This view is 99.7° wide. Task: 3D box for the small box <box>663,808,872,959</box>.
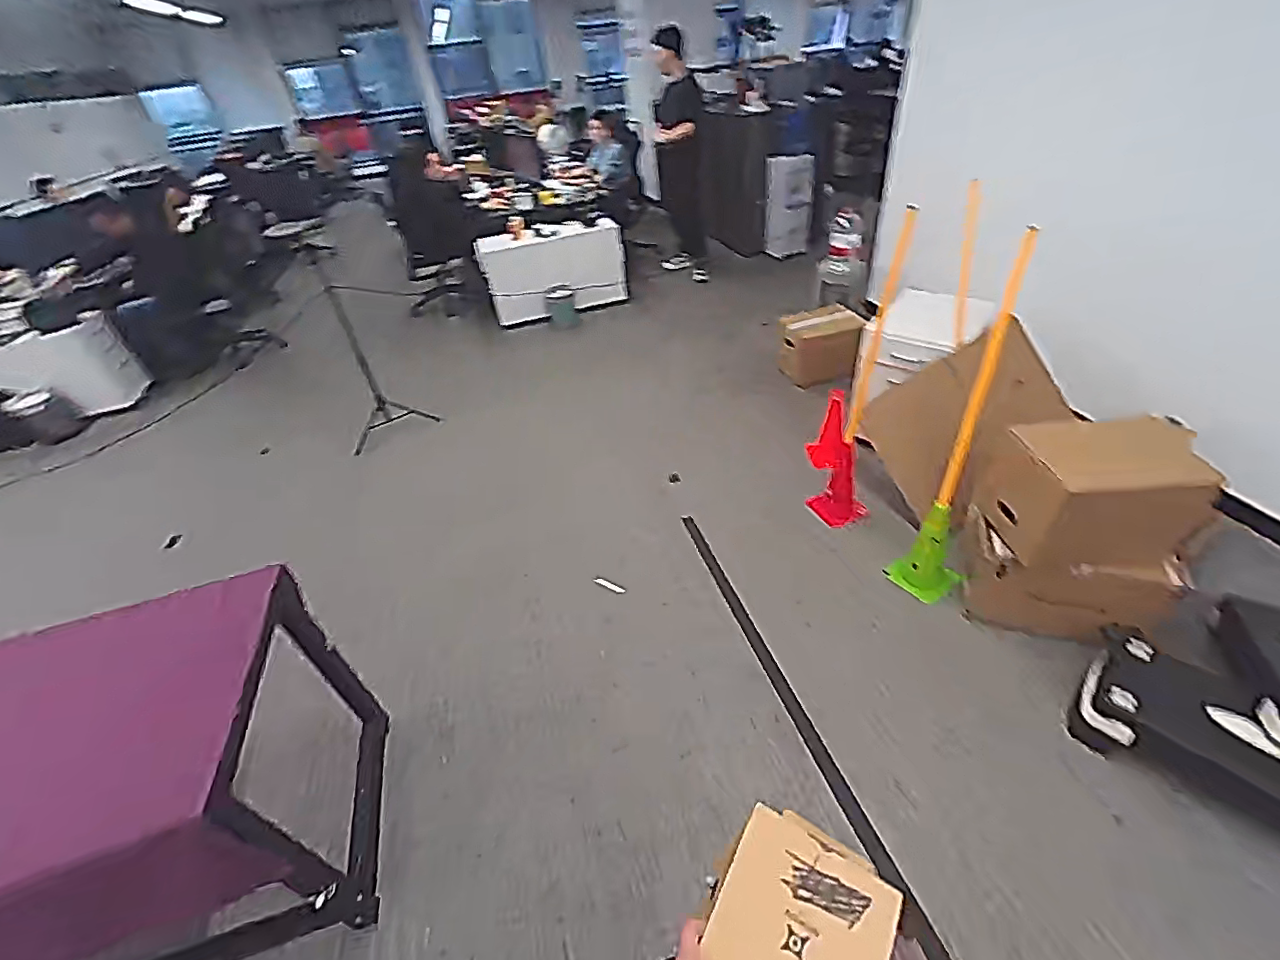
[{"bbox_3d":[0.130,0.522,0.600,0.168,0.176,0.179,25,40,17],"label":"small box"}]
